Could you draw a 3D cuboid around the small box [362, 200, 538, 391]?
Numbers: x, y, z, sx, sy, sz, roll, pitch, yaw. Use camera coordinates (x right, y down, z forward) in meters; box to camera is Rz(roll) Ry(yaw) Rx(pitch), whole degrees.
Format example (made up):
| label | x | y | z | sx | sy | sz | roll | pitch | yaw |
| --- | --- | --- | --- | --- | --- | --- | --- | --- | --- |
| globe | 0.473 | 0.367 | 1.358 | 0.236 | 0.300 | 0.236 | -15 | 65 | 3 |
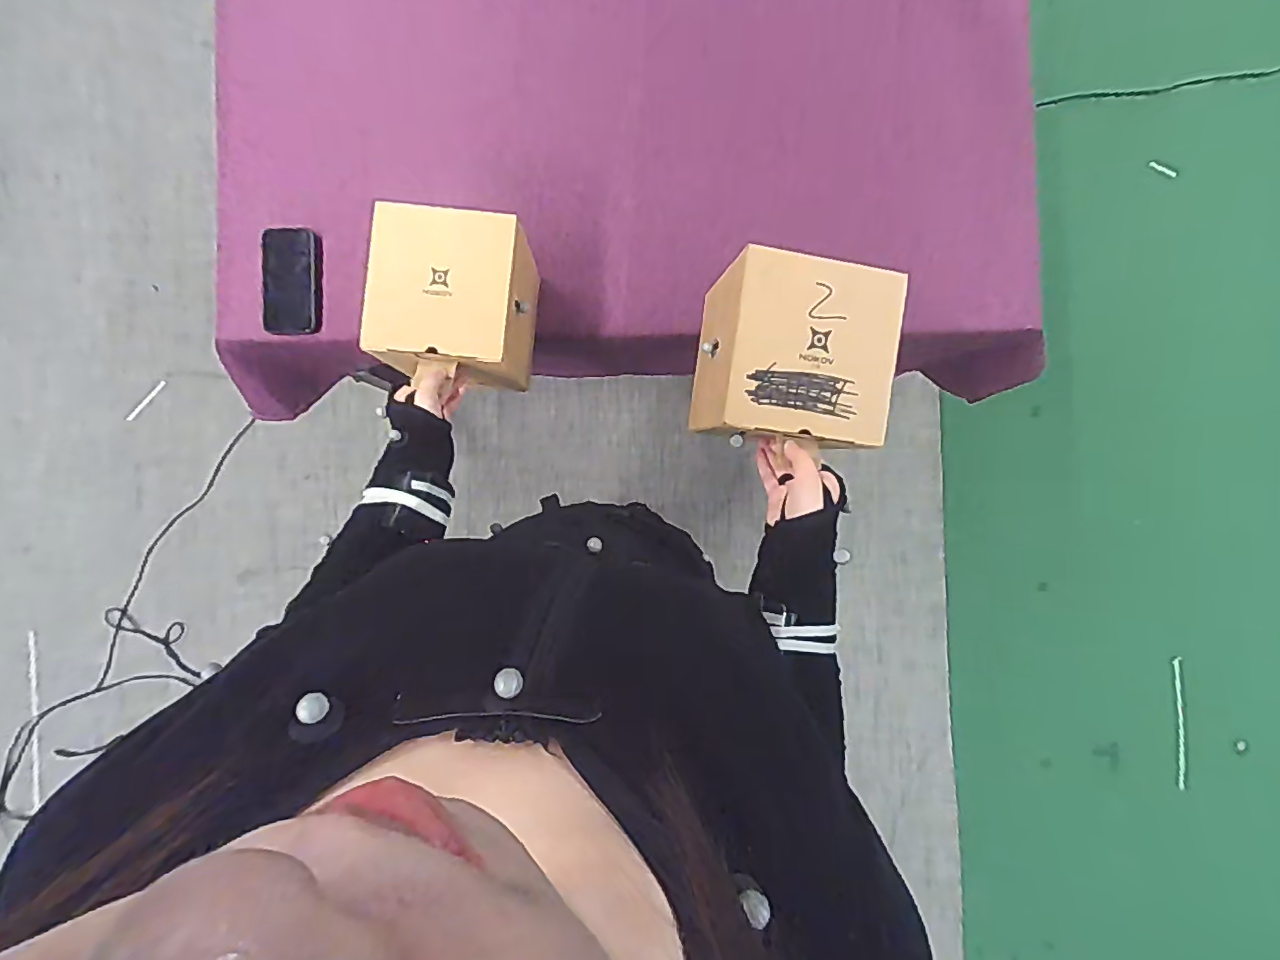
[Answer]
| label | x | y | z | sx | sy | sz | roll | pitch | yaw |
| --- | --- | --- | --- | --- | --- | --- | --- | --- | --- |
| small box | -0.231 | -0.225 | 0.702 | 0.168 | 0.176 | 0.179 | 6 | 89 | -2 |
